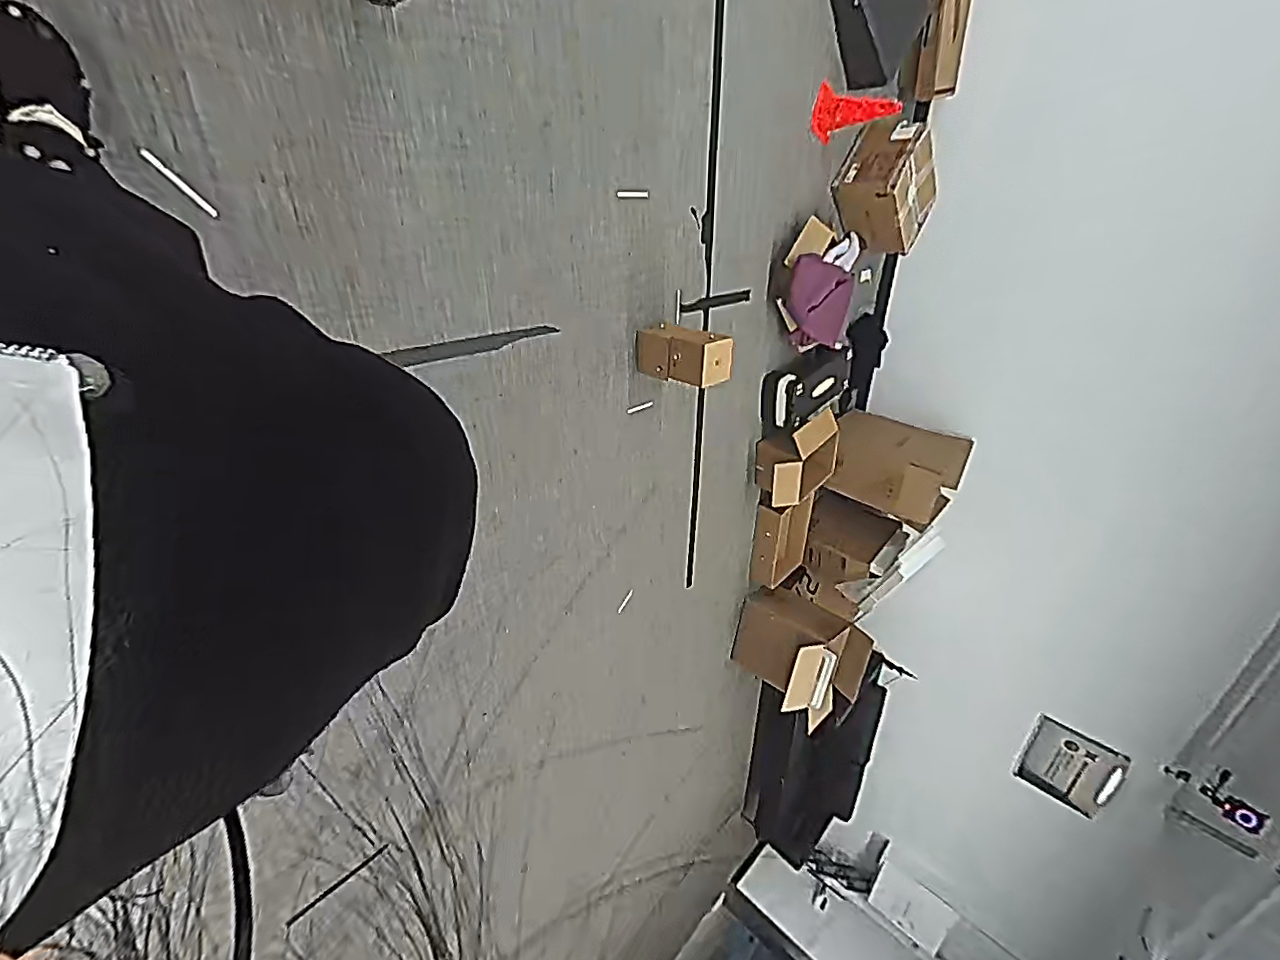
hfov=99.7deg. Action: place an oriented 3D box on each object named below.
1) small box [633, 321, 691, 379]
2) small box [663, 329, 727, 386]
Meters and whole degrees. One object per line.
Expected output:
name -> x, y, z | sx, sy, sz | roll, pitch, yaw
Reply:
small box -> 0.084, -0.523, 2.167 | 0.168, 0.176, 0.179 | -27, 129, -39
small box -> 0.210, -0.475, 2.074 | 0.179, 0.176, 0.168 | -25, 127, -39
